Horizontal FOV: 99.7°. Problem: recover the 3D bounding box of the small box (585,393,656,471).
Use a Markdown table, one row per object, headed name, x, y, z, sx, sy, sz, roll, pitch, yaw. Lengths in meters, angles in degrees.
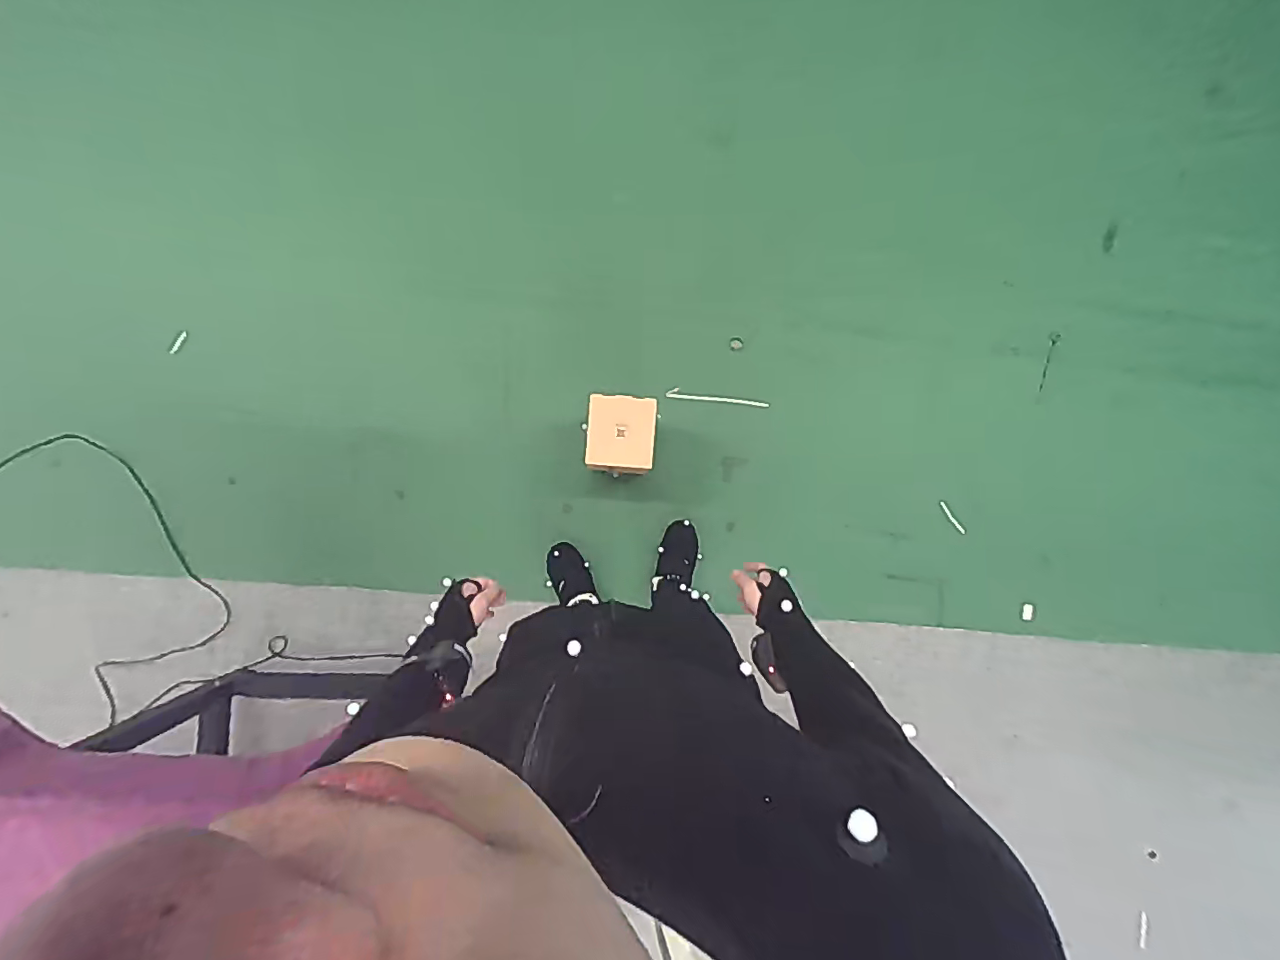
| name | x | y | z | sx | sy | sz | roll | pitch | yaw |
| --- | --- | --- | --- | --- | --- | --- | --- | --- | --- |
| small box | -0.048 | -0.117 | 1.395 | 0.168 | 0.176 | 0.179 | 4 | 87 | -1 |
